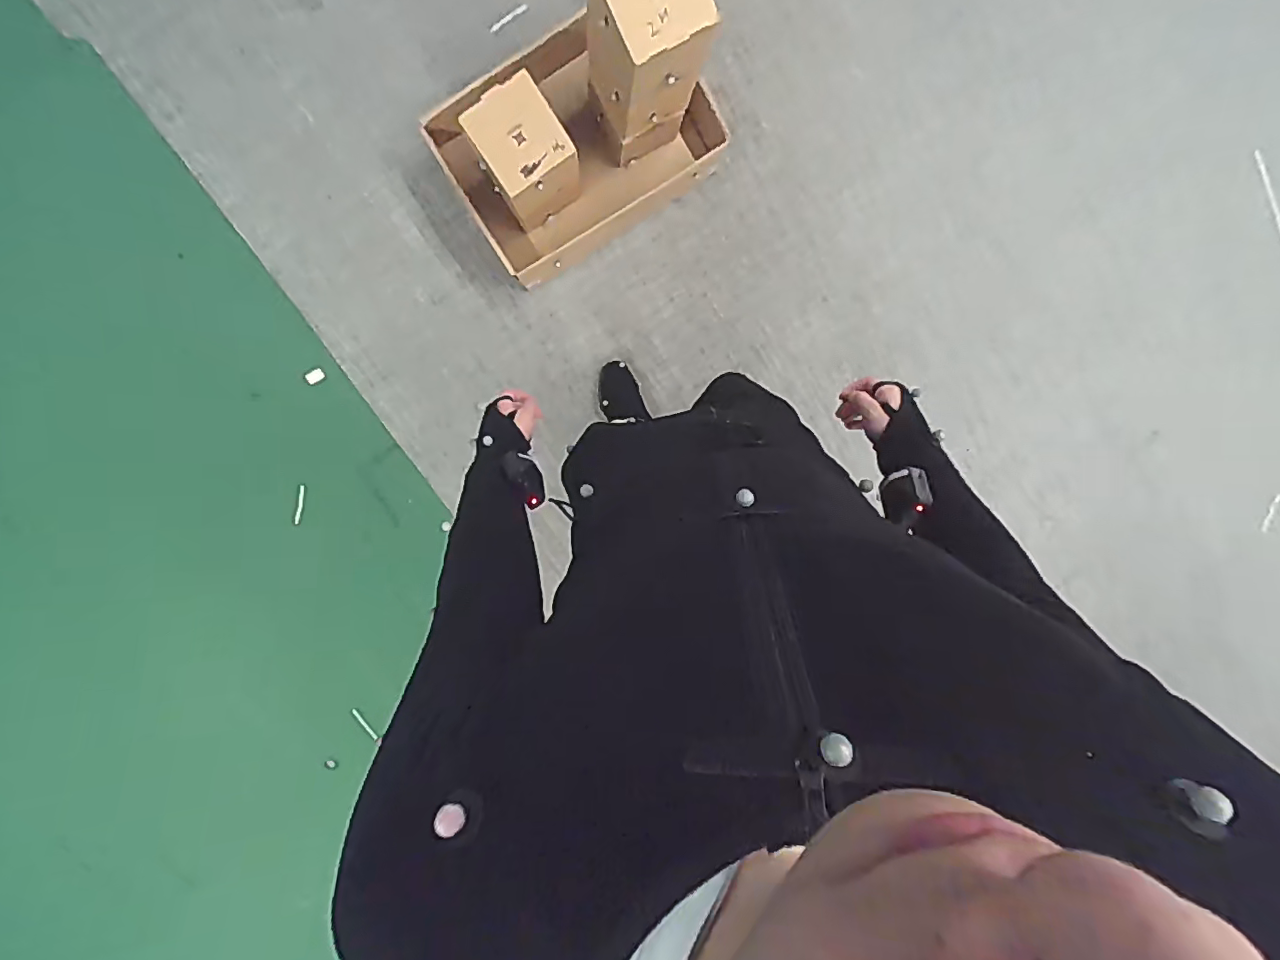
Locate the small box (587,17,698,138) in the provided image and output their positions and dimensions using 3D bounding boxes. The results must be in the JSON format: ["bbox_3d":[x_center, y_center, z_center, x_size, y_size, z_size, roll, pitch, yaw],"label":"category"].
[{"bbox_3d":[-0.002,-0.863,1.128,0.168,0.176,0.179,-28,104,1],"label":"small box"}]

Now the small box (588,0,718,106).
[{"bbox_3d":[0.014,-0.825,0.967,0.168,0.176,0.179,-28,105,2],"label":"small box"}]

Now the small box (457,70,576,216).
[{"bbox_3d":[-0.250,-0.696,1.142,0.168,0.176,0.179,-35,102,4],"label":"small box"}]
